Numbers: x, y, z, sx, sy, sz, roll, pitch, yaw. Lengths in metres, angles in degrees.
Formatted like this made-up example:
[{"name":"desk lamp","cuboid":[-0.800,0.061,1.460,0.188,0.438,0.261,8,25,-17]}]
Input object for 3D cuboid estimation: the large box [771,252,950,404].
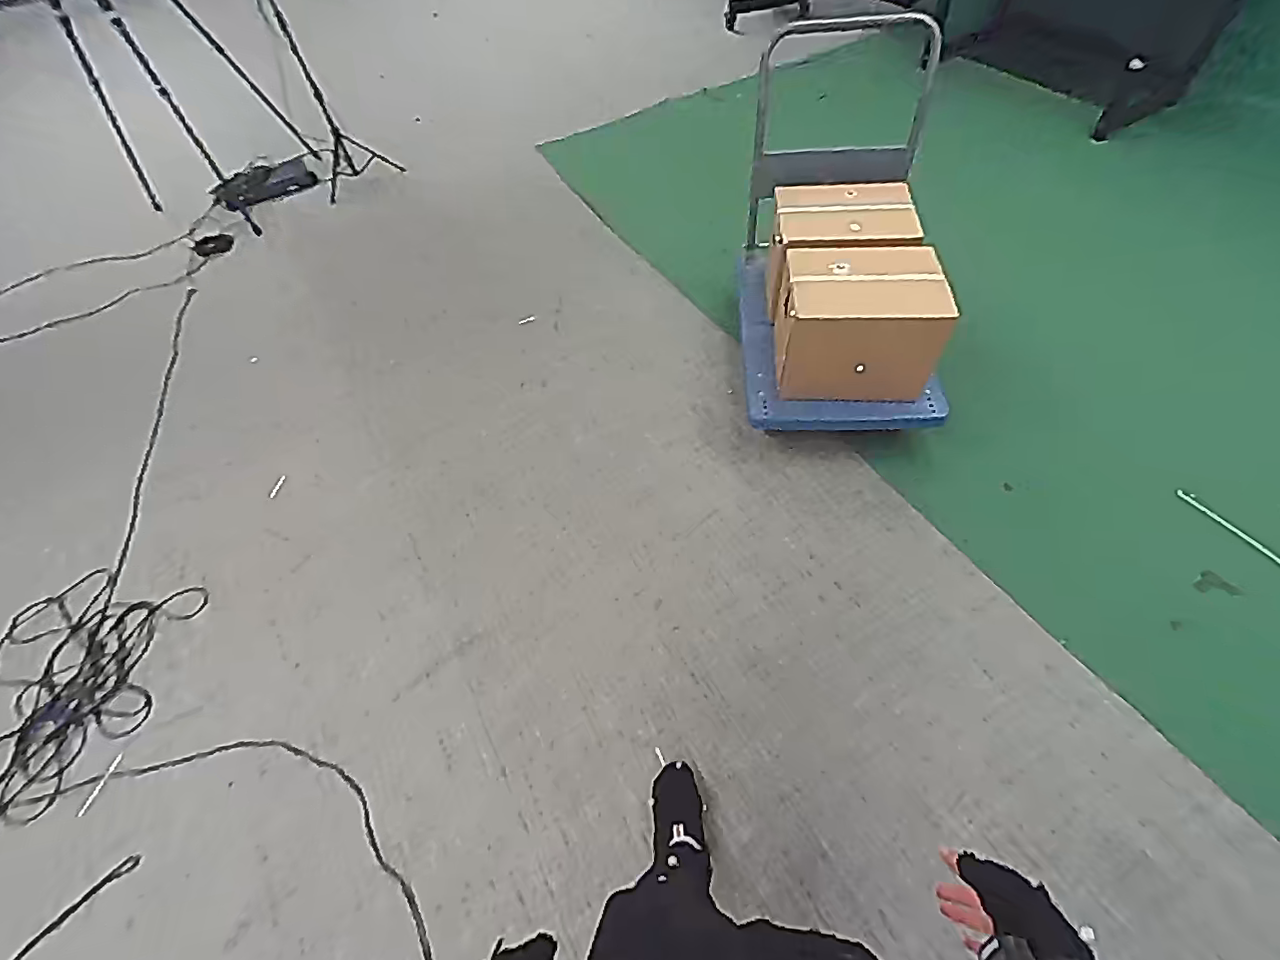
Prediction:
[{"name":"large box","cuboid":[0.610,-0.435,1.582,0.408,0.320,0.320,1,55,7]}]
